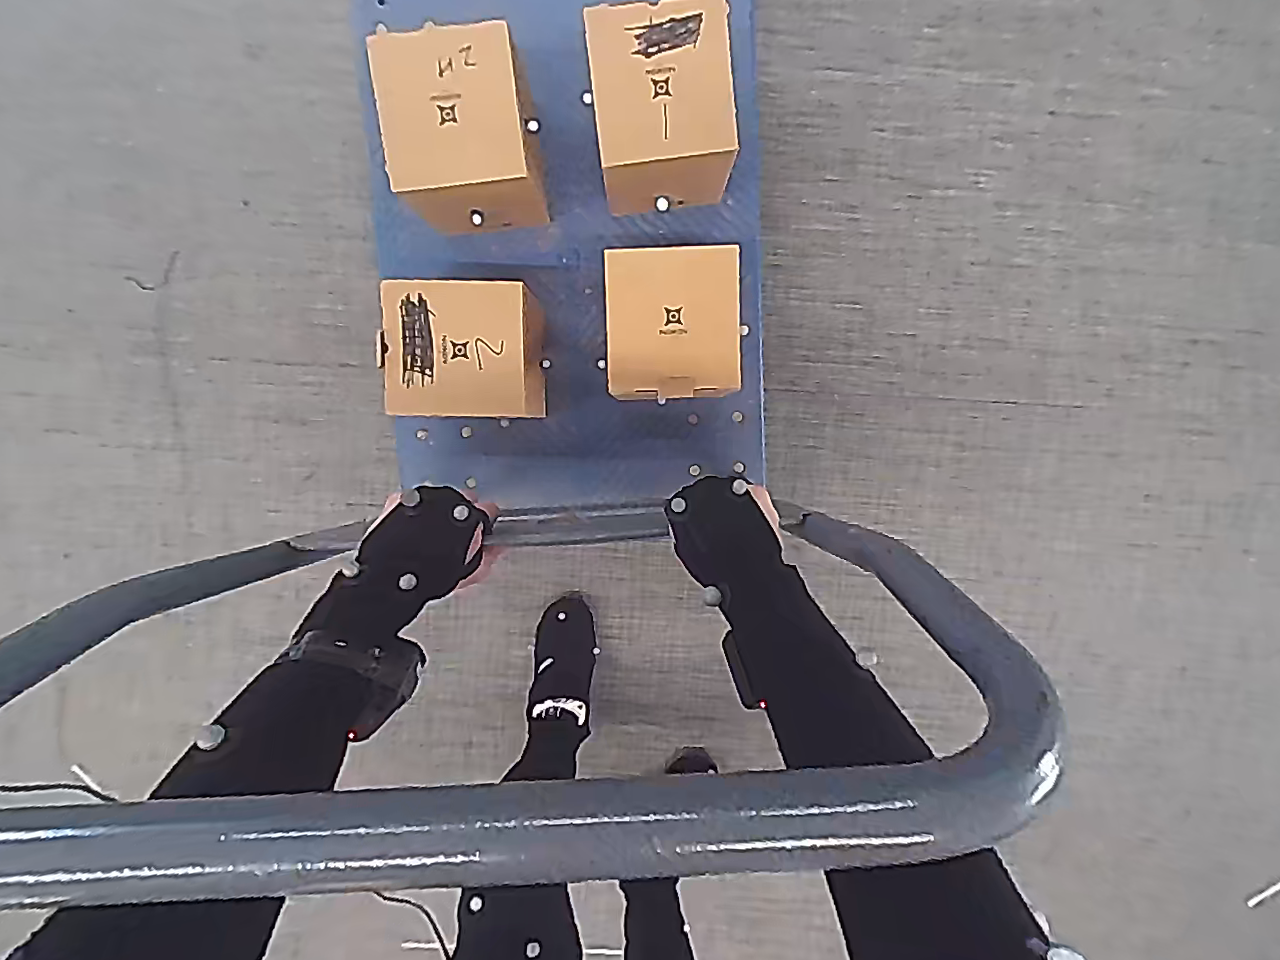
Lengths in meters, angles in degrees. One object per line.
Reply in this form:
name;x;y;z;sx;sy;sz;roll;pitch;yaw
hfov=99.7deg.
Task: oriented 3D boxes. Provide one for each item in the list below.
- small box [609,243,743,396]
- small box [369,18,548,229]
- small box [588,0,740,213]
small box;0.043;-0.207;0.739;0.168;0.176;0.179;-2;97;0
small box;-0.222;-0.445;0.709;0.168;0.176;0.179;-6;97;0
small box;0.029;-0.475;0.704;0.168;0.176;0.179;-6;98;2
